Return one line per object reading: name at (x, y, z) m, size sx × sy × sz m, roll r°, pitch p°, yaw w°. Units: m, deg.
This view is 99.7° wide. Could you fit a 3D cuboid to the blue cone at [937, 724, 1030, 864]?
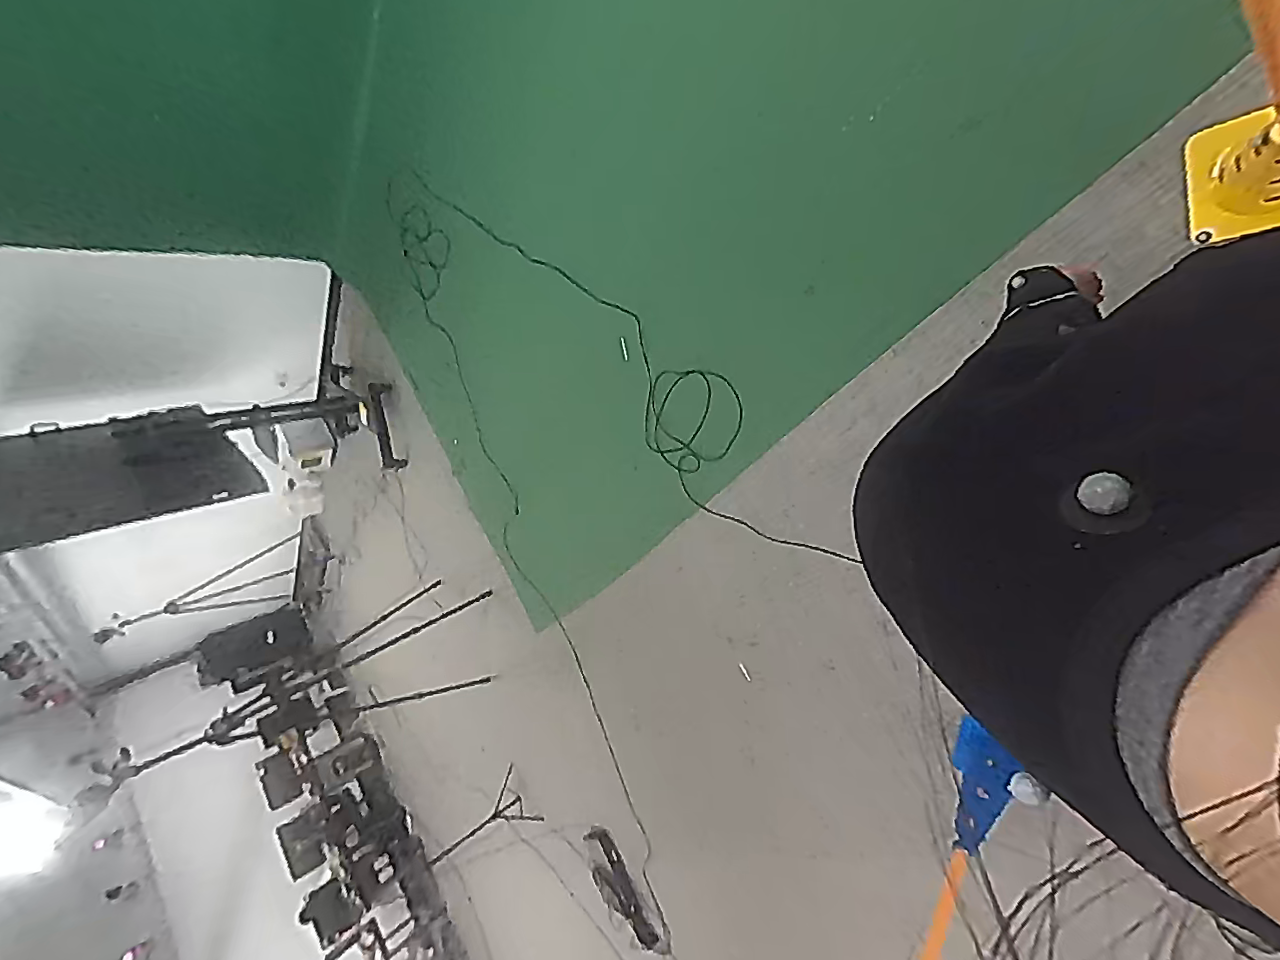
blue cone at (0.849, 0.832, 1.385) m, size 0.192 × 0.380 × 0.193 m, roll 16°, pitch 117°, yaw 40°
